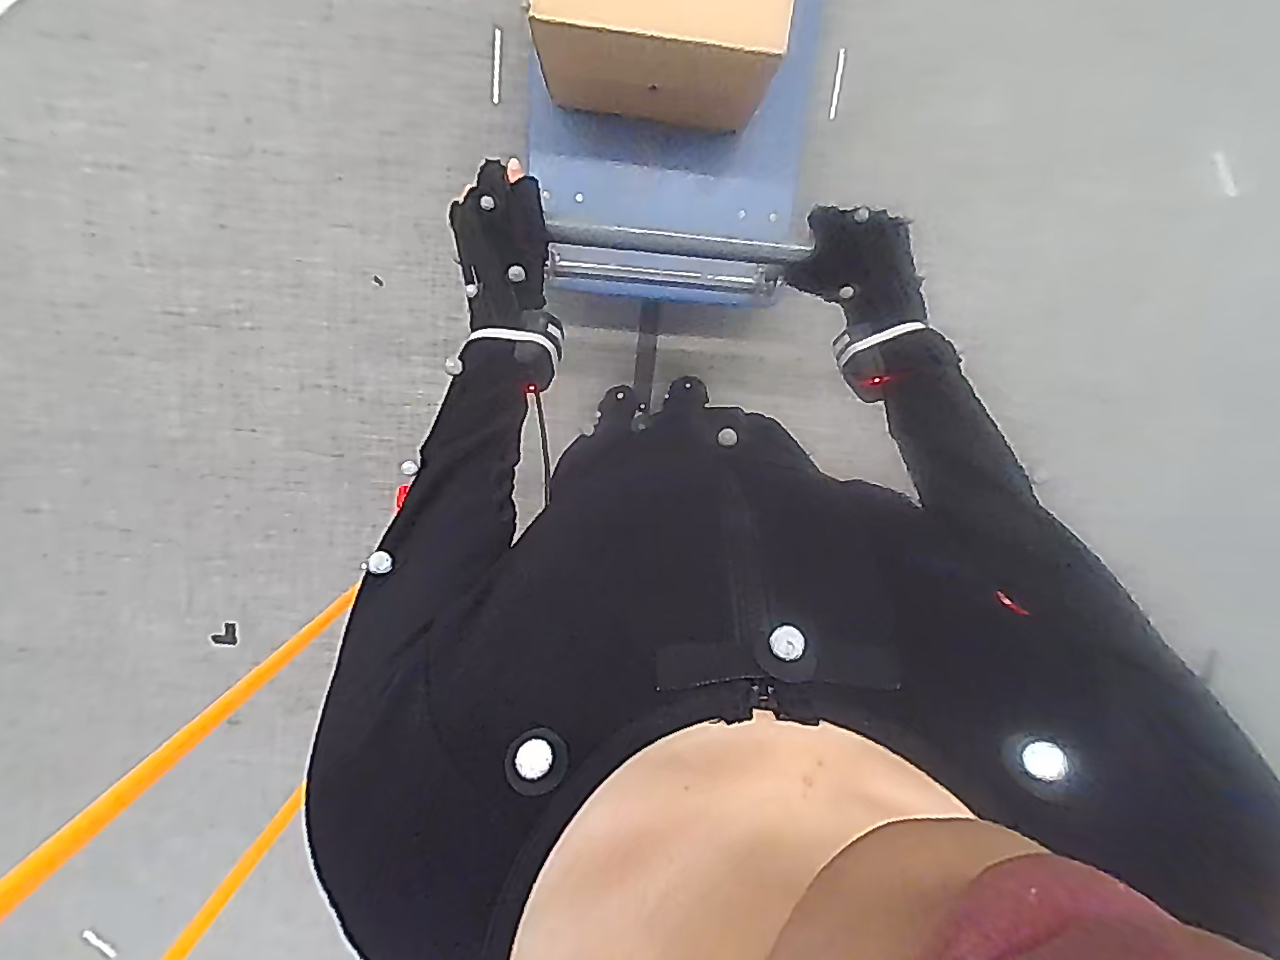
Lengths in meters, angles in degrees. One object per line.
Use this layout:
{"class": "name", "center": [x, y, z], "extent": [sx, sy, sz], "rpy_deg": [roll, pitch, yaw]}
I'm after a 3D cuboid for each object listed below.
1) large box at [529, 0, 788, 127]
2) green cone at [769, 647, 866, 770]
{"class": "large box", "center": [0.038, -0.867, 0.954], "extent": [0.408, 0.320, 0.320], "rpy_deg": [6, 103, -2]}
{"class": "green cone", "center": [0.508, 0.639, 1.462], "extent": [0.202, 0.368, 0.200], "rpy_deg": [8, 103, -4]}
